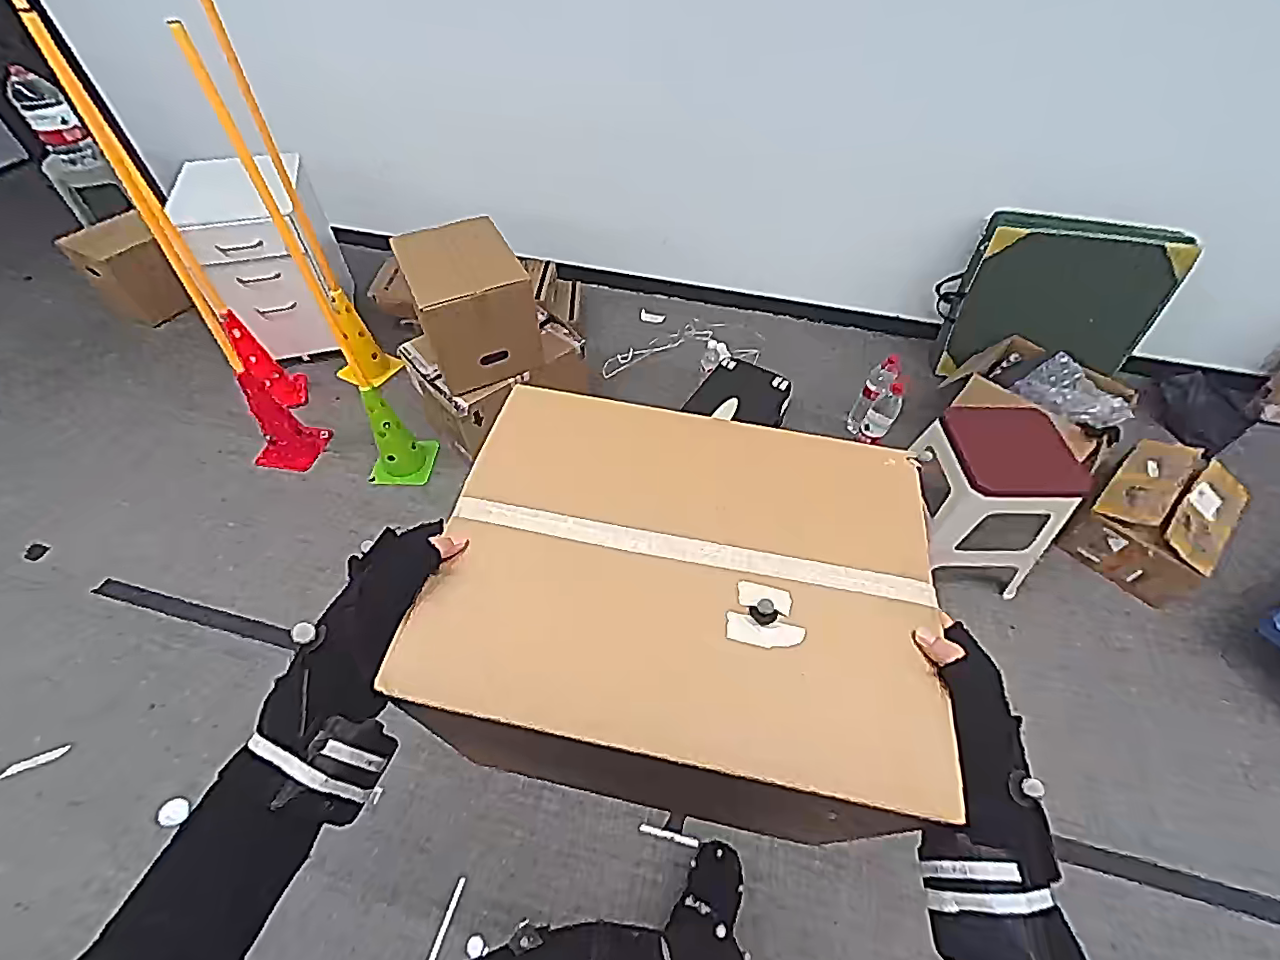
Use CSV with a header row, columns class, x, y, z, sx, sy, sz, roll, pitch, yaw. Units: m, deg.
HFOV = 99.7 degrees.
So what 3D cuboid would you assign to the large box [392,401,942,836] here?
class,x,y,z,sx,sy,sz,roll,pitch,yaw
large box,0.030,0.155,0.586,0.408,0.320,0.320,11,54,5
